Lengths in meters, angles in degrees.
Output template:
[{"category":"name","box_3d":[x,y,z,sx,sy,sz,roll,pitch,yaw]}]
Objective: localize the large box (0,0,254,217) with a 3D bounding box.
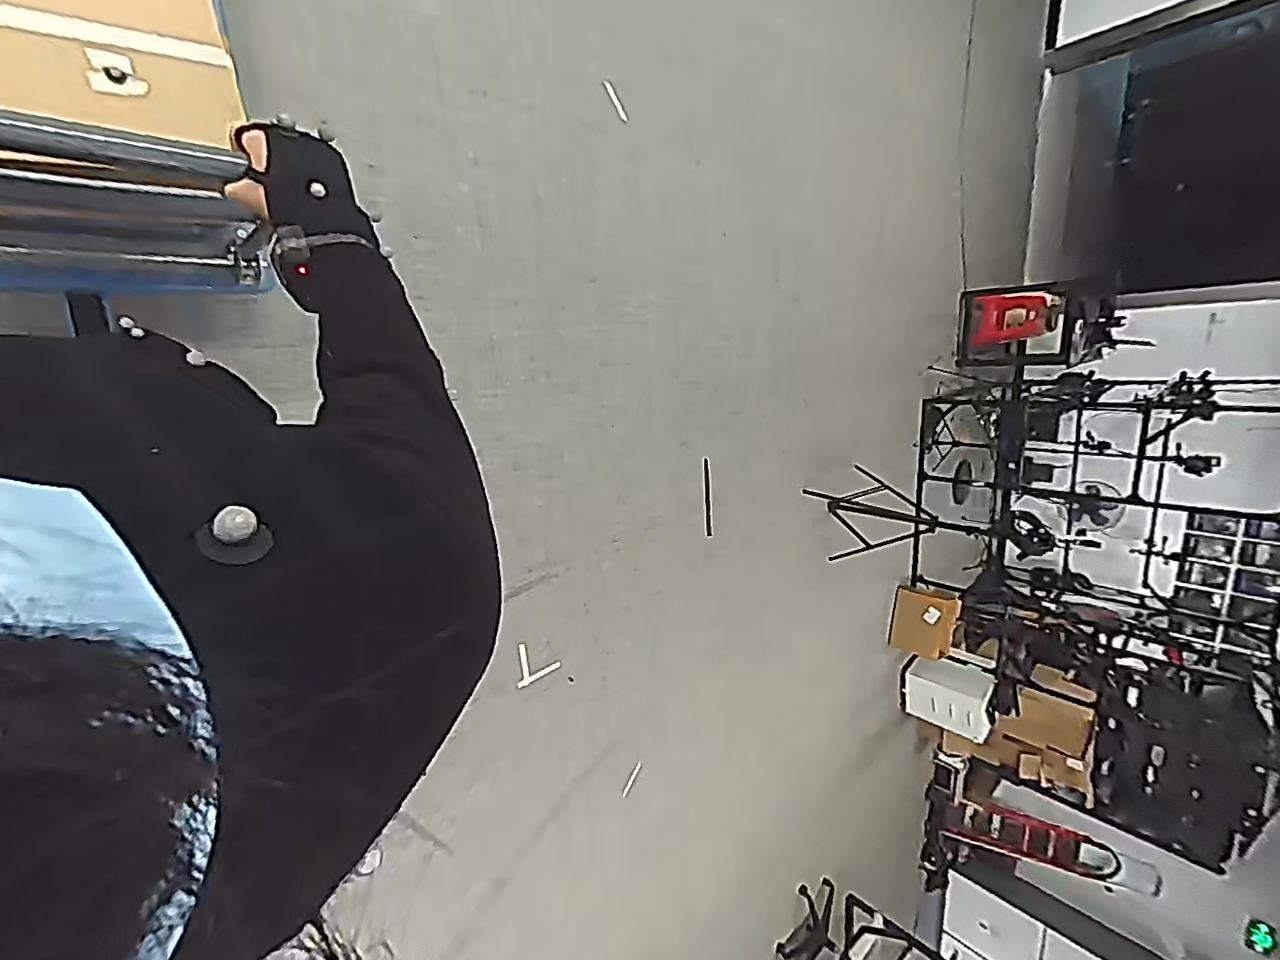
[{"category":"large box","box_3d":[-0.849,-0.573,0.758,0.408,0.320,0.320,-21,112,-42]}]
